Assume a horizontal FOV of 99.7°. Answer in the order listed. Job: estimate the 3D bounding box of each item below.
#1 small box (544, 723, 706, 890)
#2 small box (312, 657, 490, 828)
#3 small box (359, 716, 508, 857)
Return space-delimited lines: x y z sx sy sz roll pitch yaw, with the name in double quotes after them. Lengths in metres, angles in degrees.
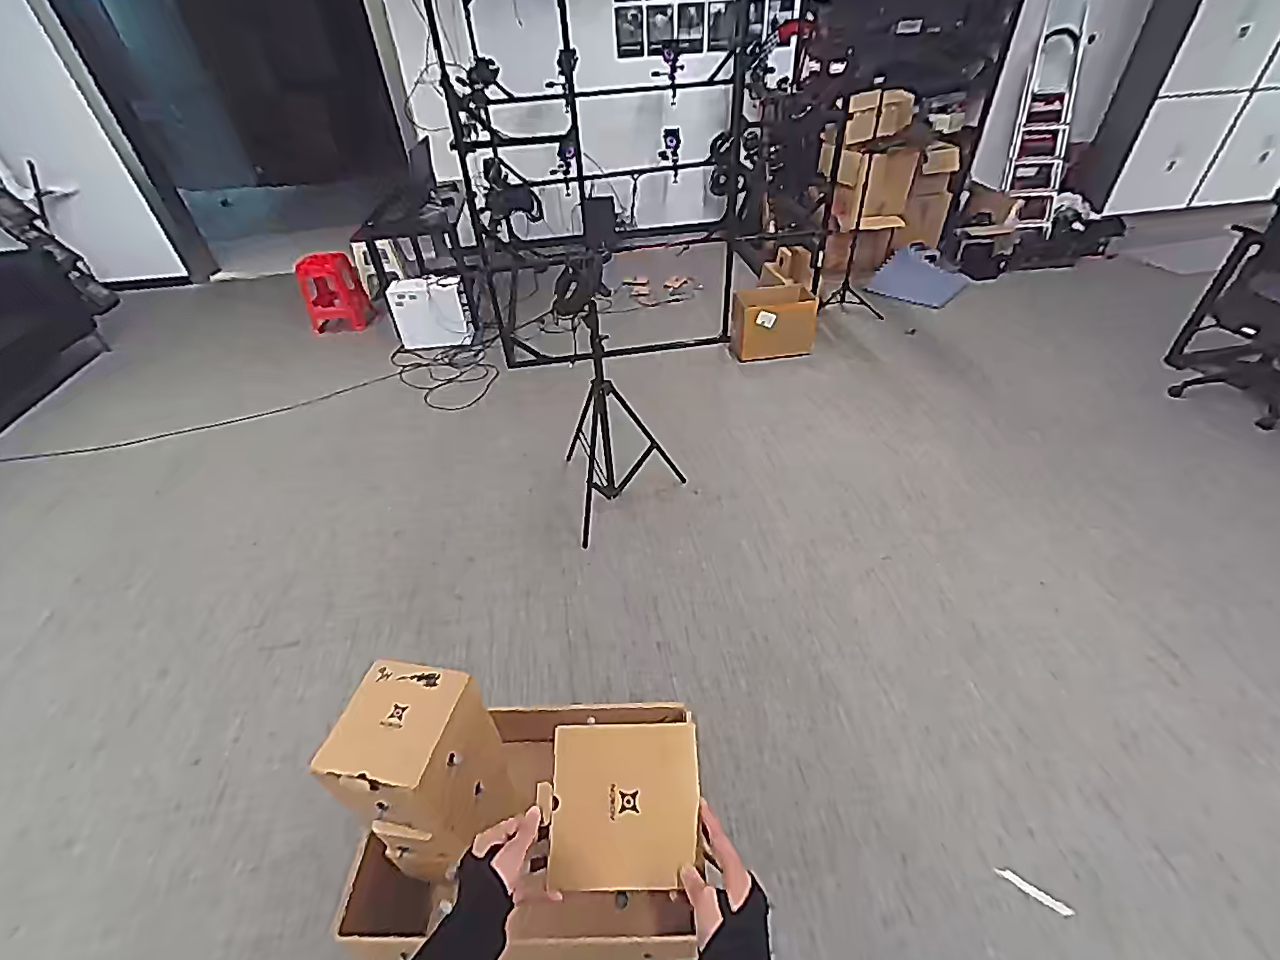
-0.011 0.412 0.685 0.179 0.176 0.168 -4 55 4 "small box"
-0.352 0.408 0.840 0.168 0.176 0.179 6 41 10 "small box"
-0.345 0.531 0.949 0.168 0.176 0.179 3 39 8 "small box"
